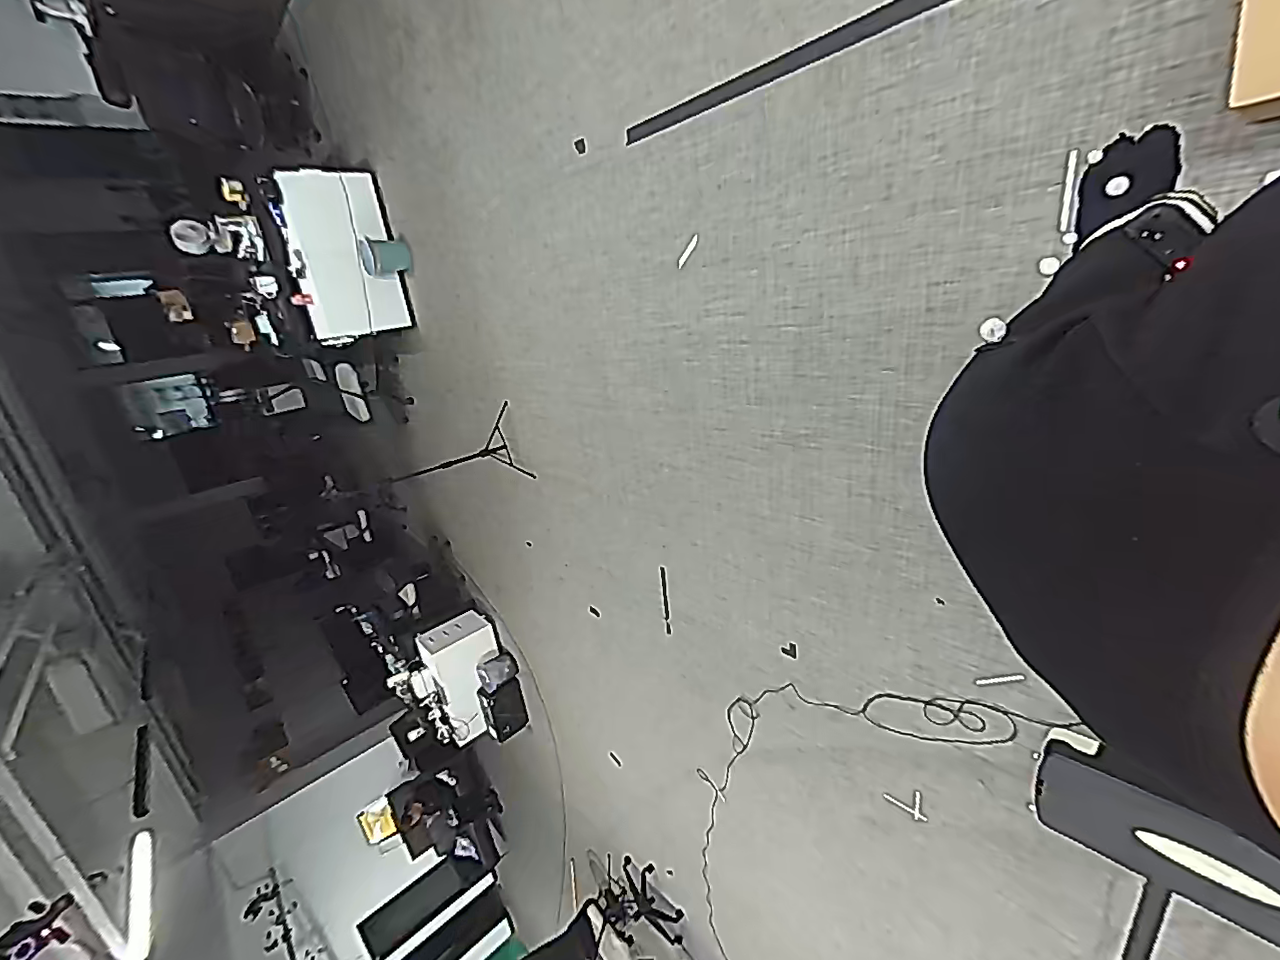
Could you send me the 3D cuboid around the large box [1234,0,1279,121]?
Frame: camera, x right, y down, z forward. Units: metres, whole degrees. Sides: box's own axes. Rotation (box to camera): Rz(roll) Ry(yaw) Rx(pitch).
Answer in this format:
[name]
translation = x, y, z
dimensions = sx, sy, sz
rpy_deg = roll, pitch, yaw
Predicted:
[large box]
translation = 1.024, -0.686, 0.643
dimensions = 0.408, 0.320, 0.320
rpy_deg = 9, 116, 47
